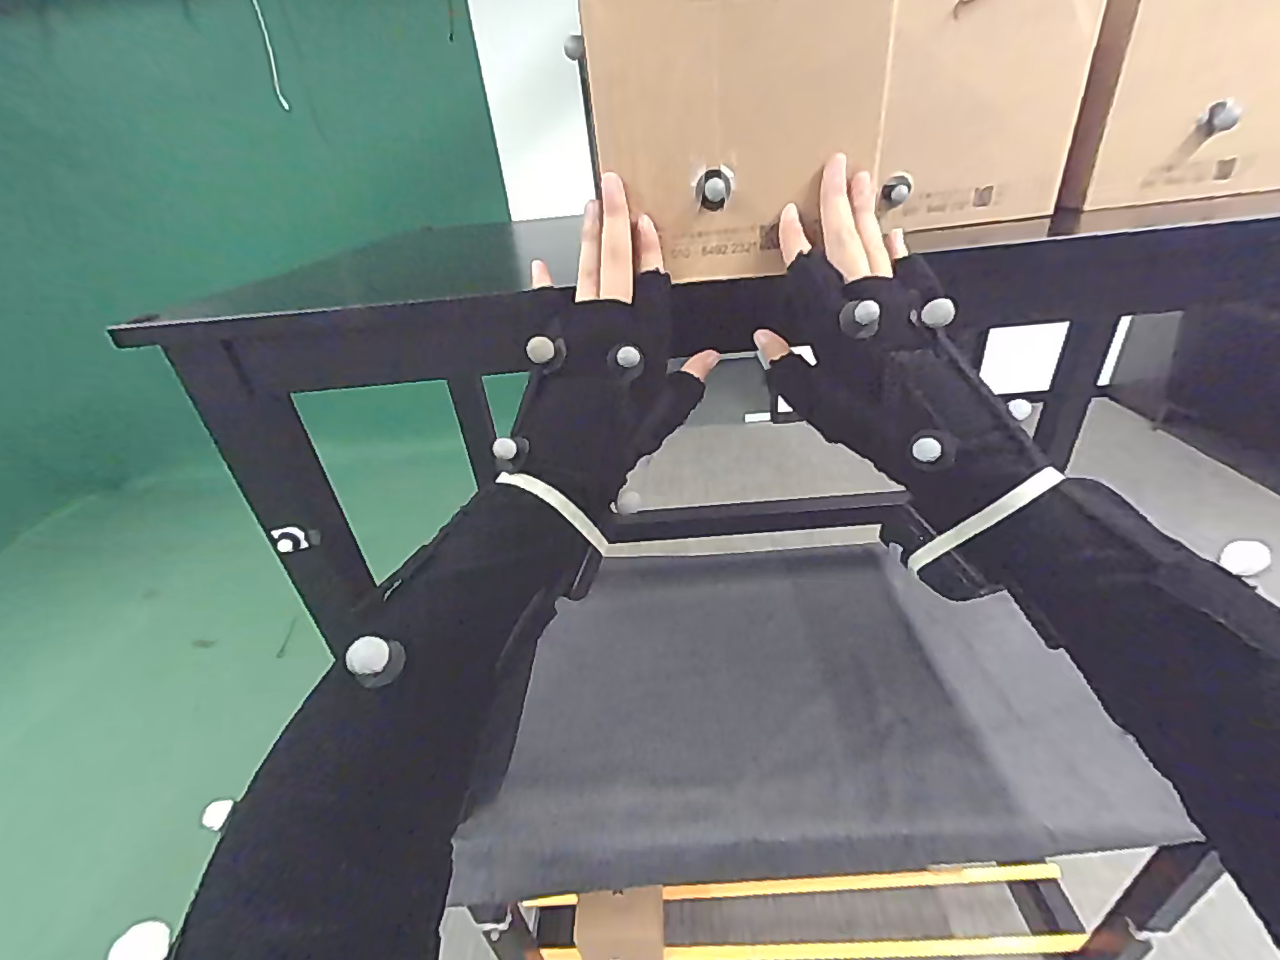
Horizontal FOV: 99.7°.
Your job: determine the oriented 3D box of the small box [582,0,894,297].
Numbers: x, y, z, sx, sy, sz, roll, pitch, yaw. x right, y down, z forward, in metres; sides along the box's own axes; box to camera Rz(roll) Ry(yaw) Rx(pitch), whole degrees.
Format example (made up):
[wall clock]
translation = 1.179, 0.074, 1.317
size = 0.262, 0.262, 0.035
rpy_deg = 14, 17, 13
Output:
[small box]
translation = 0.058, -0.237, 0.389
size = 0.168, 0.176, 0.179
rpy_deg = -4, 32, 4
